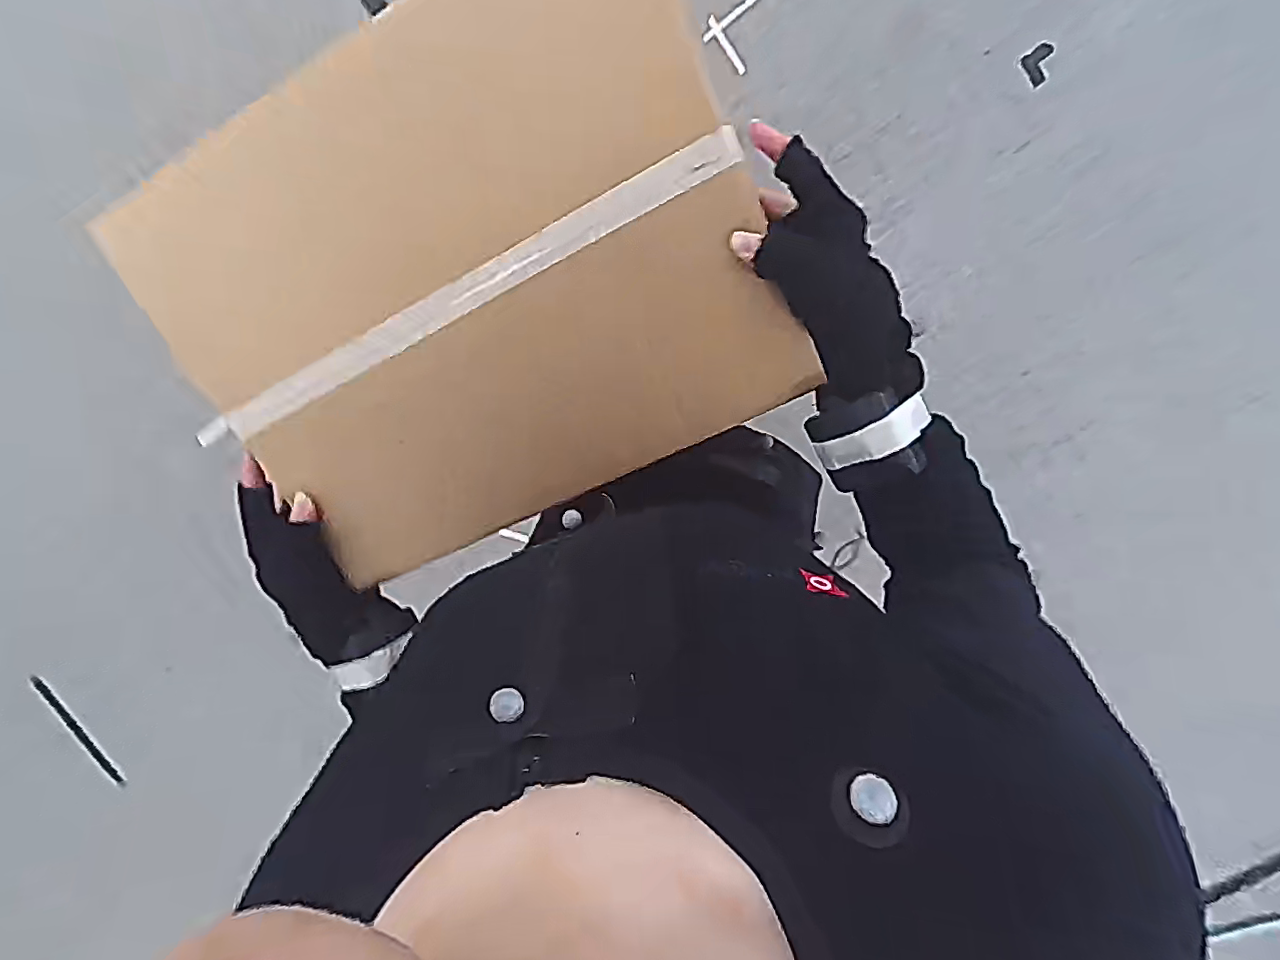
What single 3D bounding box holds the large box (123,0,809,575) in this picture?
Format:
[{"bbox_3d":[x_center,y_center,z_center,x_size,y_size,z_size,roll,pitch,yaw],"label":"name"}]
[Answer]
[{"bbox_3d":[-0.113,-0.175,0.515,0.408,0.320,0.320,-24,106,13],"label":"large box"}]
